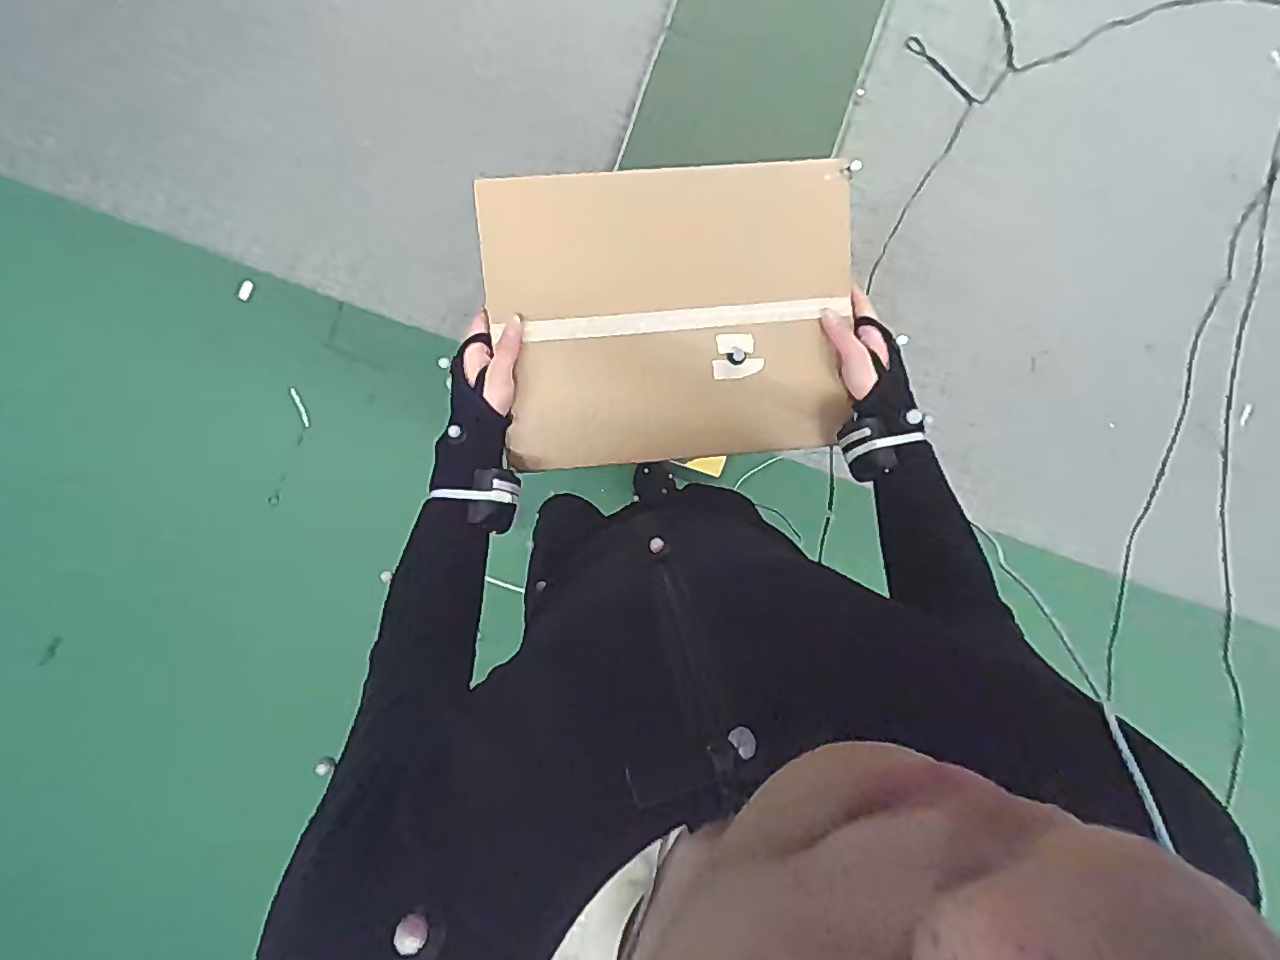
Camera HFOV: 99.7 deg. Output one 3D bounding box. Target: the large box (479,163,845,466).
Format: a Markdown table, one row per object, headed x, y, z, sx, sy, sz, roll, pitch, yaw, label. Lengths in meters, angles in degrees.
| x | y | z | sx | sy | sz | roll | pitch | yaw | label |
| --- | --- | --- | --- | --- | --- | --- | --- | --- | --- |
| 0.023 | -0.205 | 0.759 | 0.408 | 0.320 | 0.320 | -5 | 99 | -4 | large box |
